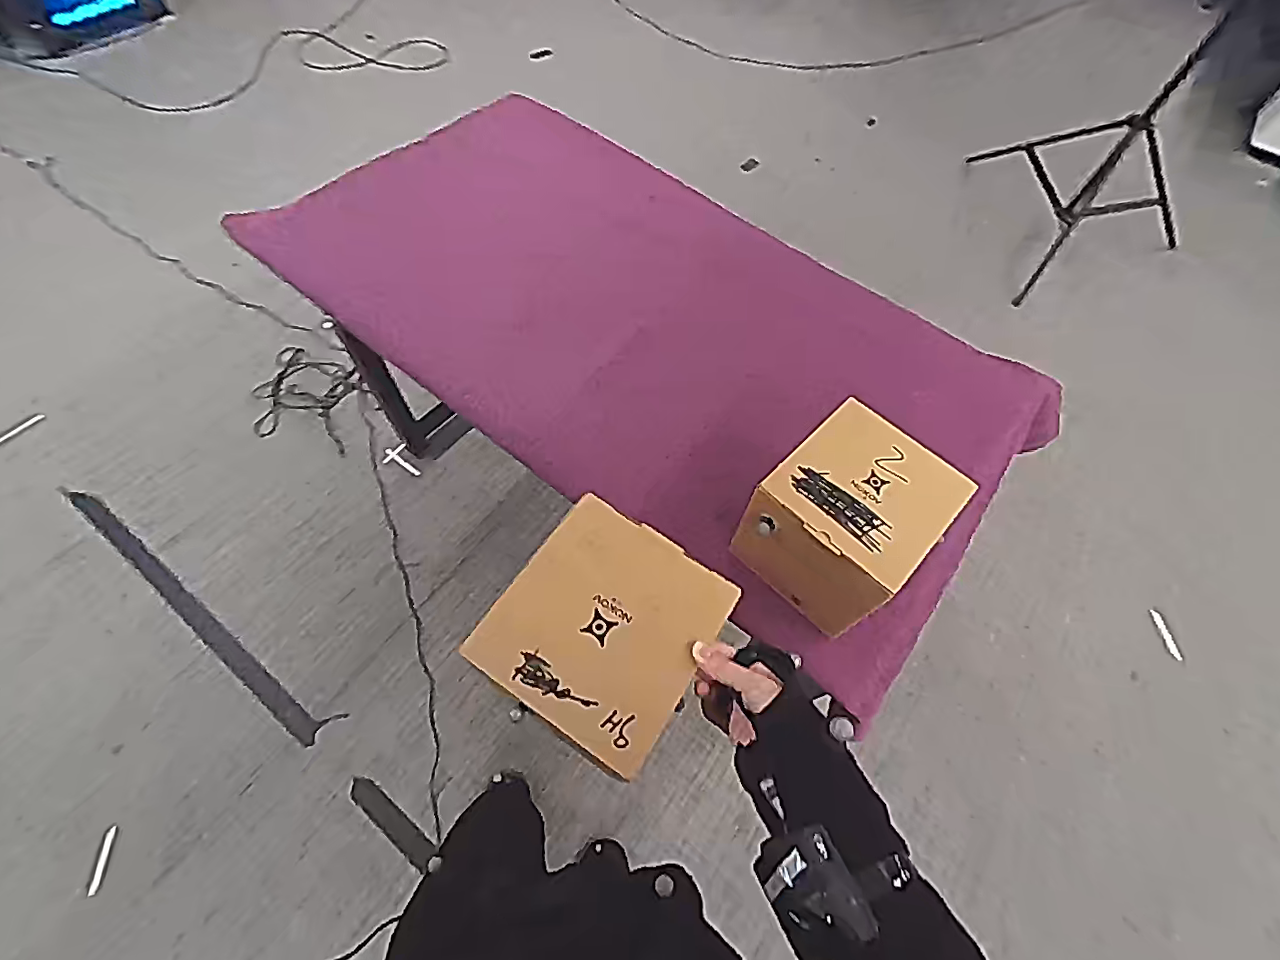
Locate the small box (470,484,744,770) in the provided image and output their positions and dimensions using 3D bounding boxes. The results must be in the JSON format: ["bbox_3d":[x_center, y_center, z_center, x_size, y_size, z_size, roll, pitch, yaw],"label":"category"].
[{"bbox_3d":[-0.032,0.142,0.511,0.168,0.176,0.179,33,63,9],"label":"small box"}]
